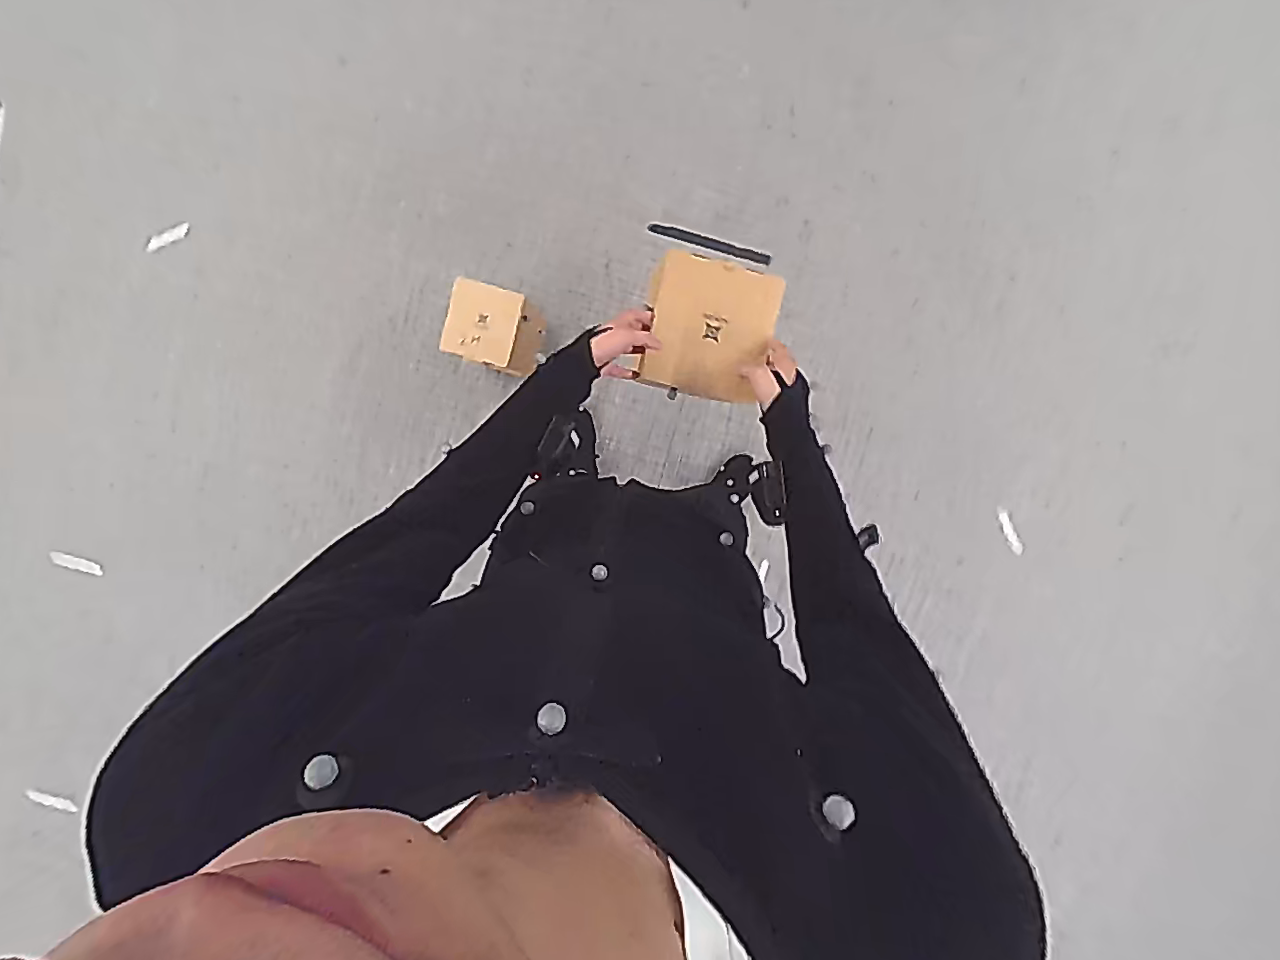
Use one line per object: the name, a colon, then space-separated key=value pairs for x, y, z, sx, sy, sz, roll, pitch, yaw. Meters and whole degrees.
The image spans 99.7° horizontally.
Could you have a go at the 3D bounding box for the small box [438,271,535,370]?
small box: x=-0.365 y=-0.379 z=1.316 sx=0.168 sy=0.176 sz=0.179 roll=17 pitch=97 yaw=-1

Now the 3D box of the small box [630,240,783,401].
small box: x=0.084 y=-0.218 z=0.789 sx=0.168 sy=0.176 sz=0.179 roll=12 pitch=96 yaw=-8

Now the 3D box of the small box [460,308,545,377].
small box: x=-0.368 y=-0.391 z=1.479 sx=0.168 sy=0.176 sz=0.179 roll=17 pitch=97 yaw=-1
